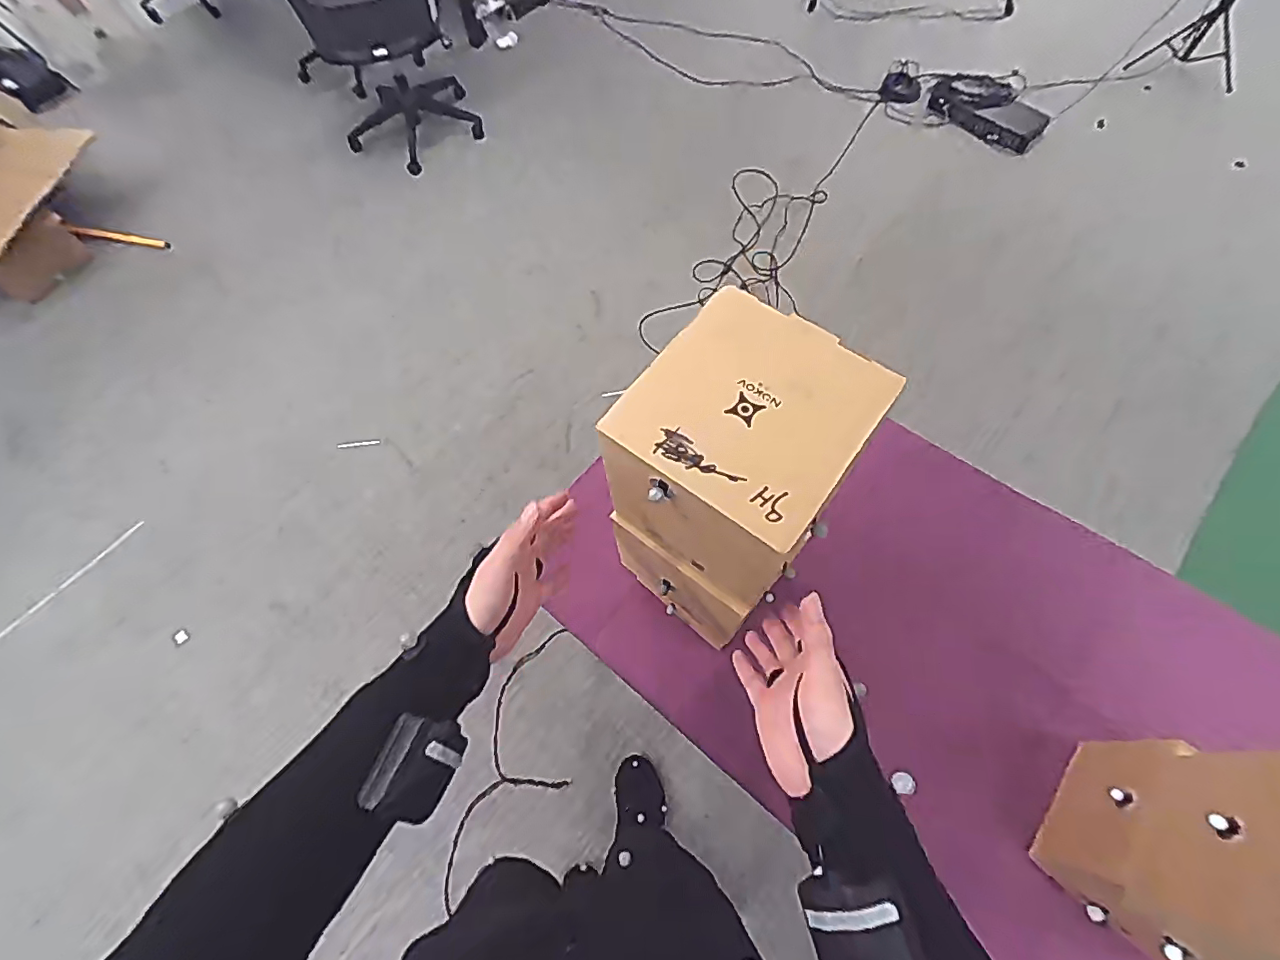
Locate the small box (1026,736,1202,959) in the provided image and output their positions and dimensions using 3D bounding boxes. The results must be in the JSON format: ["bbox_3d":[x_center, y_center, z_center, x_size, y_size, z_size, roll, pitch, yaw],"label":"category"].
[{"bbox_3d":[0.588,0.416,0.608,0.168,0.176,0.179,38,72,19],"label":"small box"}]

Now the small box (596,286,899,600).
[{"bbox_3d":[0.083,-0.023,0.474,0.168,0.176,0.179,35,71,17],"label":"small box"}]

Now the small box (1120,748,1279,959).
[{"bbox_3d":[0.567,0.358,0.456,0.168,0.176,0.179,36,69,18],"label":"small box"}]

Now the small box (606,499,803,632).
[{"bbox_3d":[0.085,0.052,0.621,0.168,0.176,0.179,36,72,17],"label":"small box"}]
